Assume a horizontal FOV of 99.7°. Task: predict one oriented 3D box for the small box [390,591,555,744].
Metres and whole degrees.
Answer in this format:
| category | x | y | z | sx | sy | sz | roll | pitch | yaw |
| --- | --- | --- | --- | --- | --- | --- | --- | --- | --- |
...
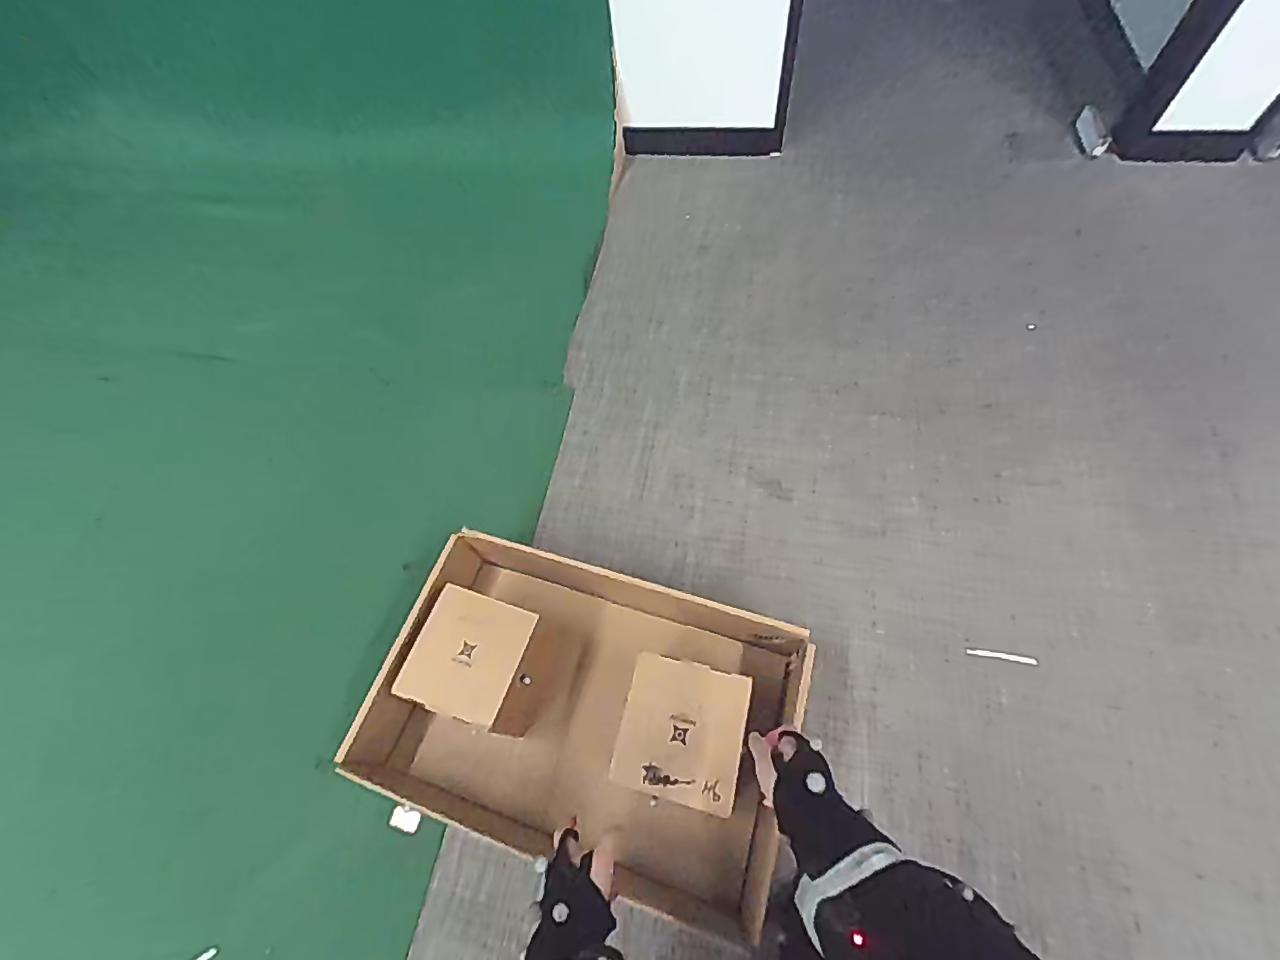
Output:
| category | x | y | z | sx | sy | sz | roll | pitch | yaw |
| --- | --- | --- | --- | --- | --- | --- | --- | --- | --- |
| small box | -0.251 | 0.305 | 0.863 | 0.168 | 0.176 | 0.179 | 17 | 64 | 12 |
